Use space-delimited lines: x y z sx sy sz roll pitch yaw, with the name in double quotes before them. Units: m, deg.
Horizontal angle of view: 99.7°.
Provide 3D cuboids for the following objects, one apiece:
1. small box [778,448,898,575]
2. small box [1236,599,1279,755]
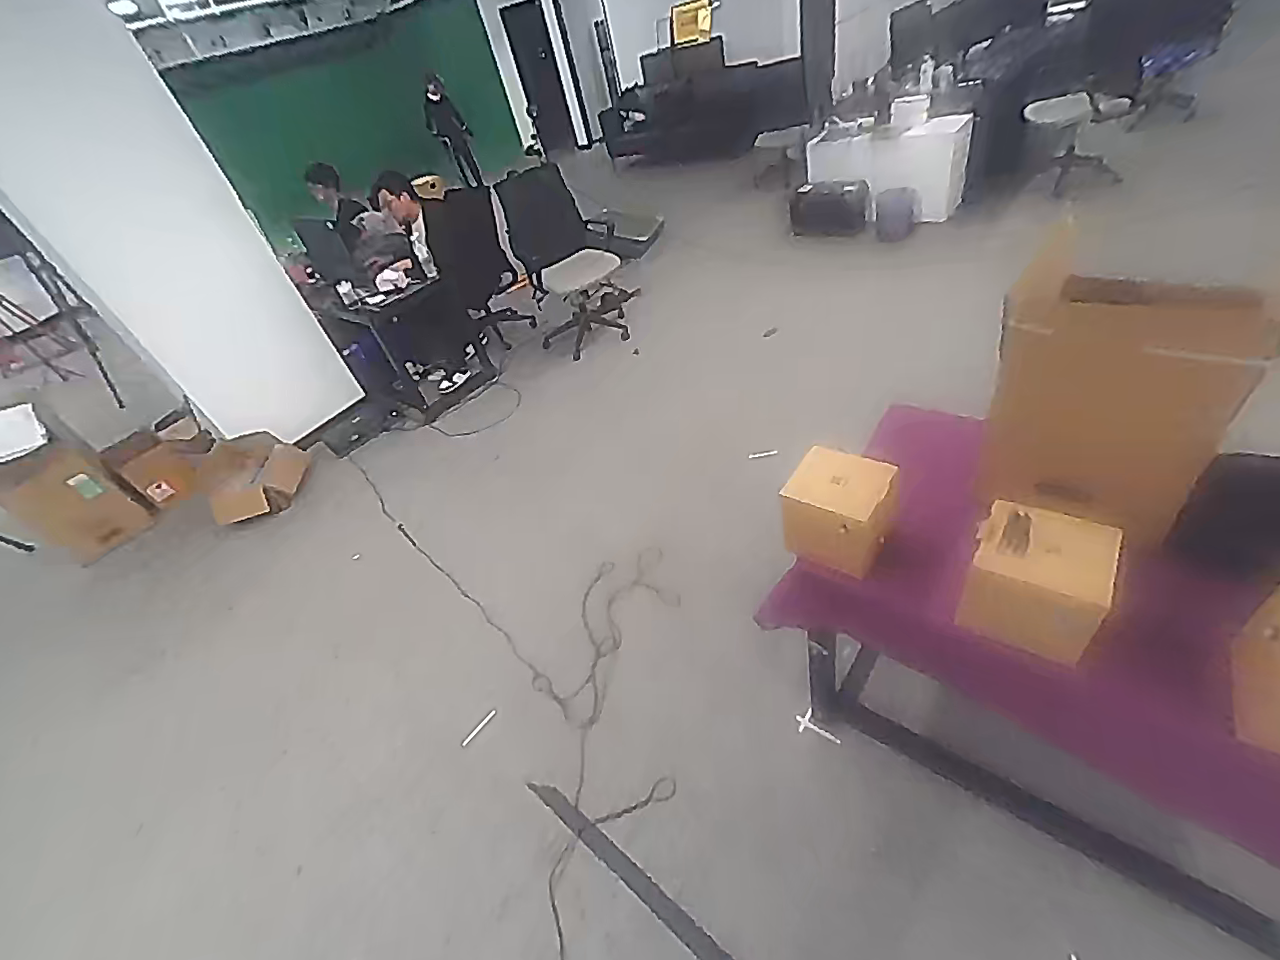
"small box" 0.399 0.065 1.097 0.179 0.176 0.168 20 52 34
"small box" 0.912 0.262 0.690 0.168 0.176 0.179 16 51 34
